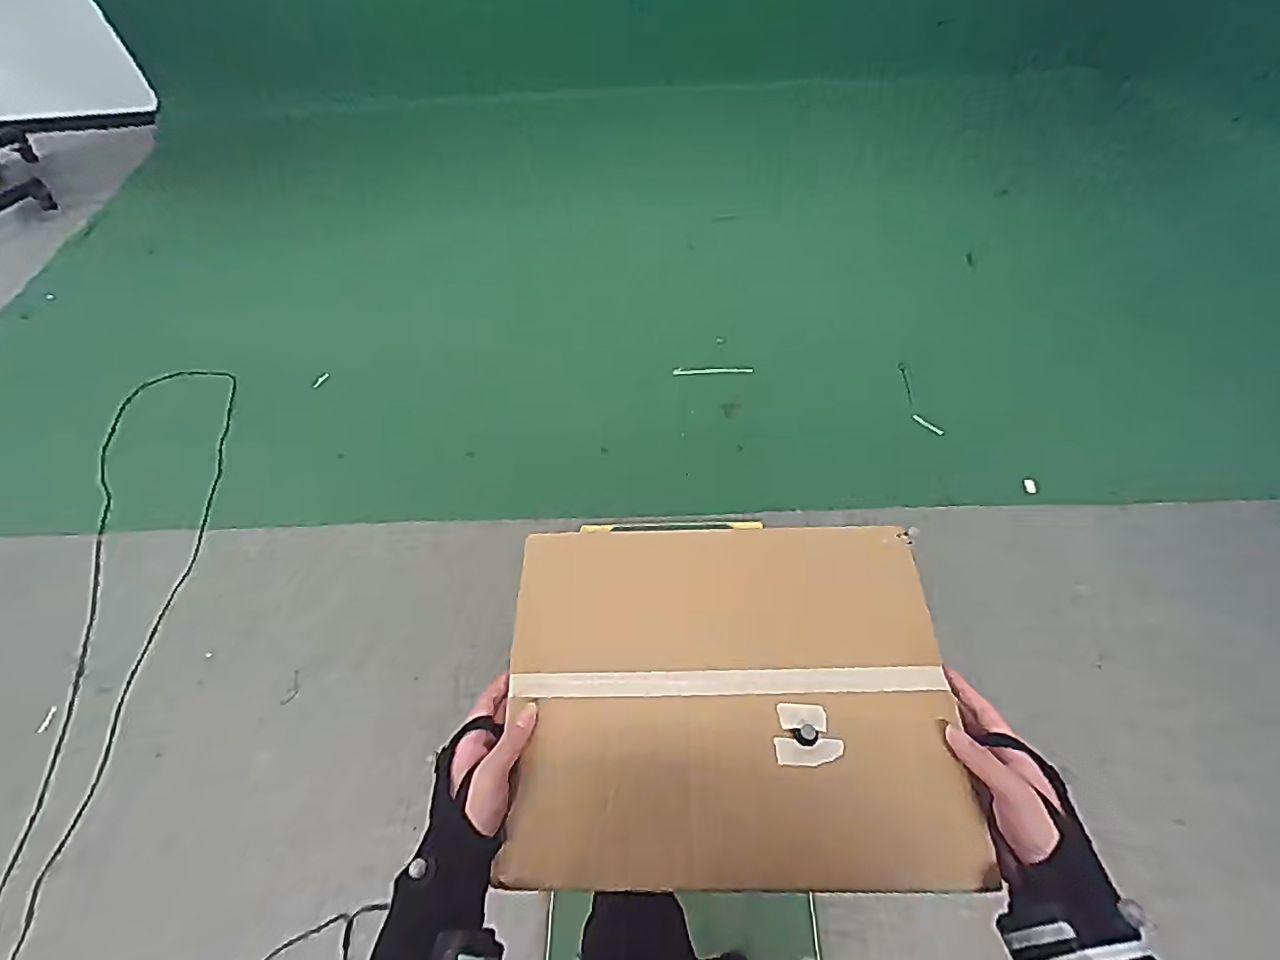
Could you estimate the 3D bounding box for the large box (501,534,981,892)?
[{"bbox_3d":[0.083,0.273,0.644,0.408,0.320,0.320,-2,60,2],"label":"large box"}]
